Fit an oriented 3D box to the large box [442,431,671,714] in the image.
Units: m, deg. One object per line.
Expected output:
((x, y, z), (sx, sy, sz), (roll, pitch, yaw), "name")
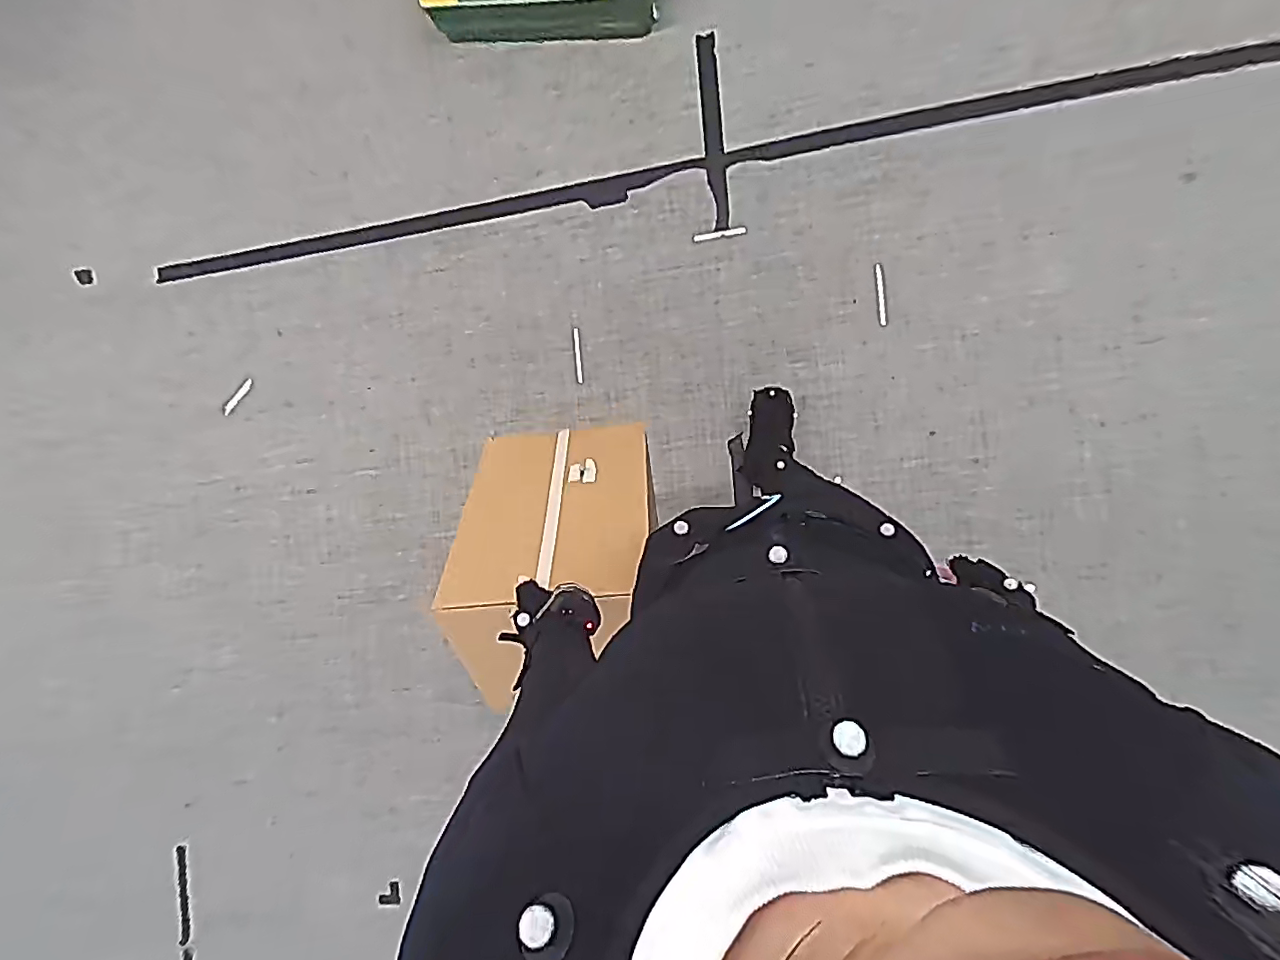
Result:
((-0.121, 0.160, 1.003), (0.320, 0.408, 0.320), (-5, 129, 3), "large box")
